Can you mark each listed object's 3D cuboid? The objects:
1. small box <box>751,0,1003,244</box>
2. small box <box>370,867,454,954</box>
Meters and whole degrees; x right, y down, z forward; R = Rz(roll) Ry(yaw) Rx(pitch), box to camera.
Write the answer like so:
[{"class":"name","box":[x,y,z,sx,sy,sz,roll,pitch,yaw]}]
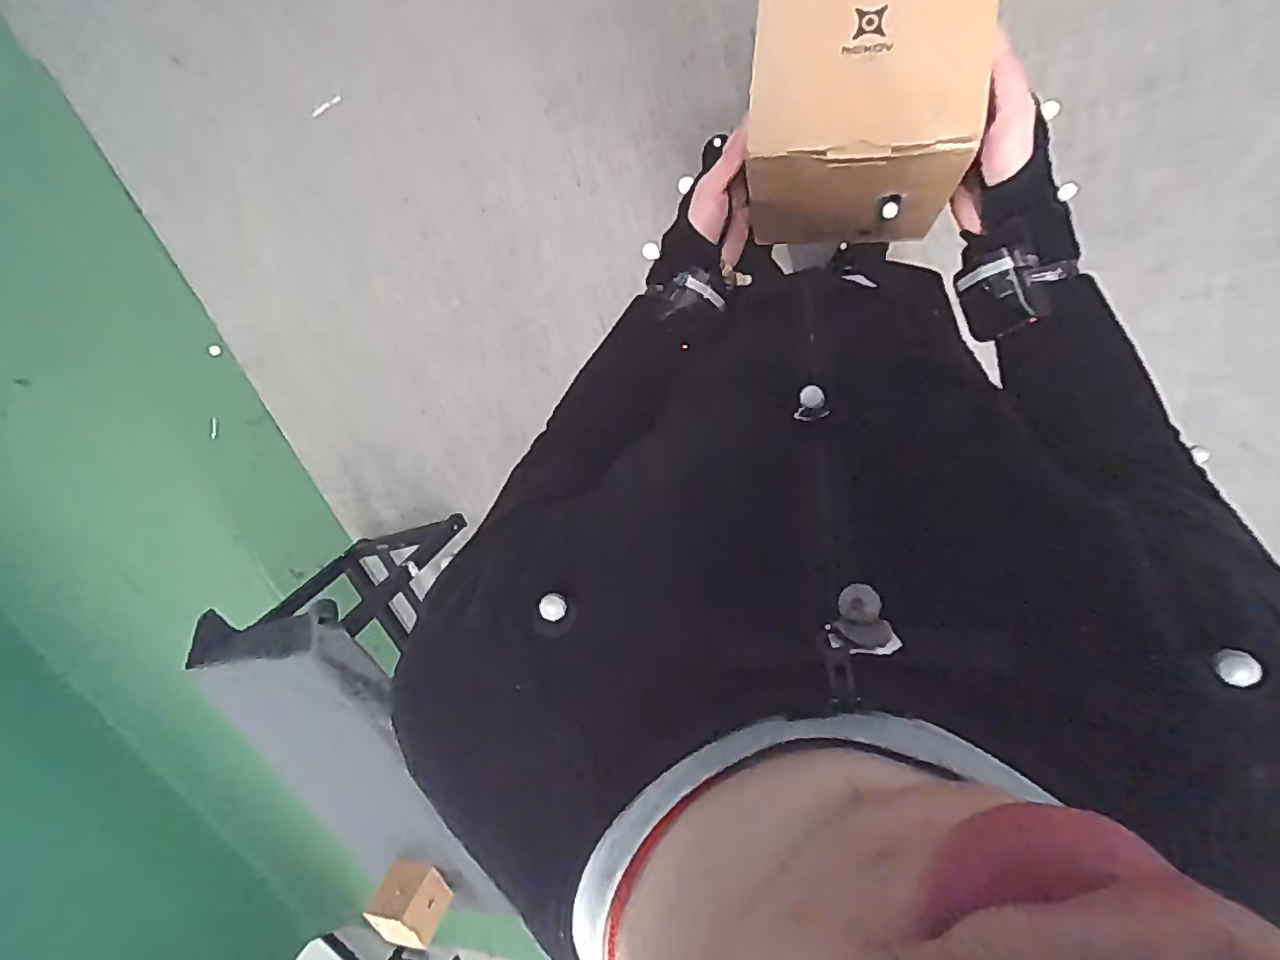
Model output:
[{"class":"small box","box":[0.191,-0.321,0.471,0.168,0.176,0.179,5,90,14]},{"class":"small box","box":[-0.756,1.445,1.822,0.179,0.176,0.168,-12,112,23]}]
